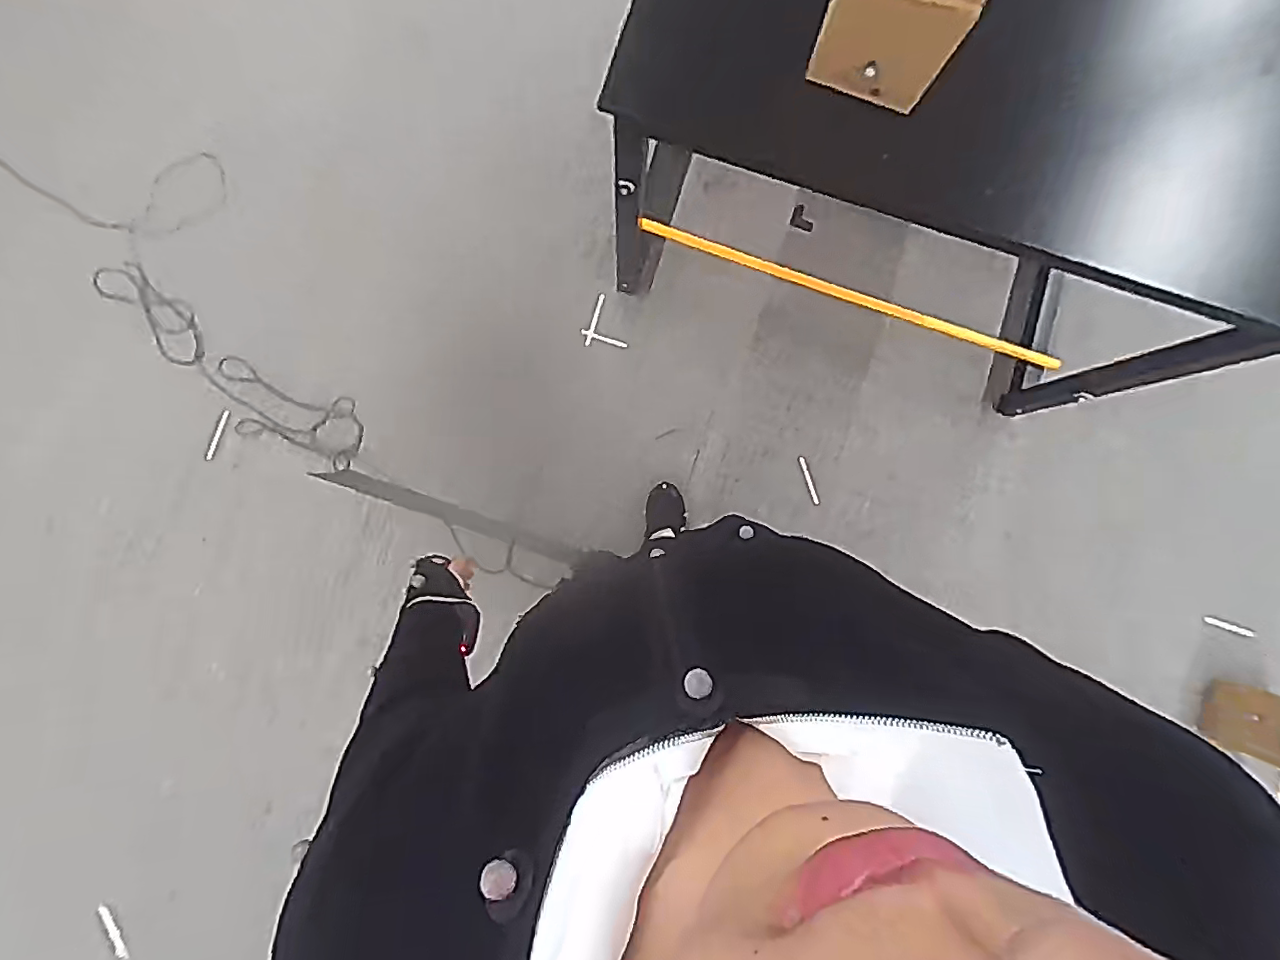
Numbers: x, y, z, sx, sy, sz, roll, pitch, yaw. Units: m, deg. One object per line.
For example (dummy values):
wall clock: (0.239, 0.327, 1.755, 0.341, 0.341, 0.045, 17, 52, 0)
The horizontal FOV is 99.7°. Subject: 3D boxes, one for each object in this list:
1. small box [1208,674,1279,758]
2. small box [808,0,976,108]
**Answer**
small box: (1.678, 0.638, 1.432, 0.168, 0.176, 0.179, 16, 88, 0)
small box: (0.350, -0.666, 0.737, 0.168, 0.176, 0.179, 19, 87, 0)
